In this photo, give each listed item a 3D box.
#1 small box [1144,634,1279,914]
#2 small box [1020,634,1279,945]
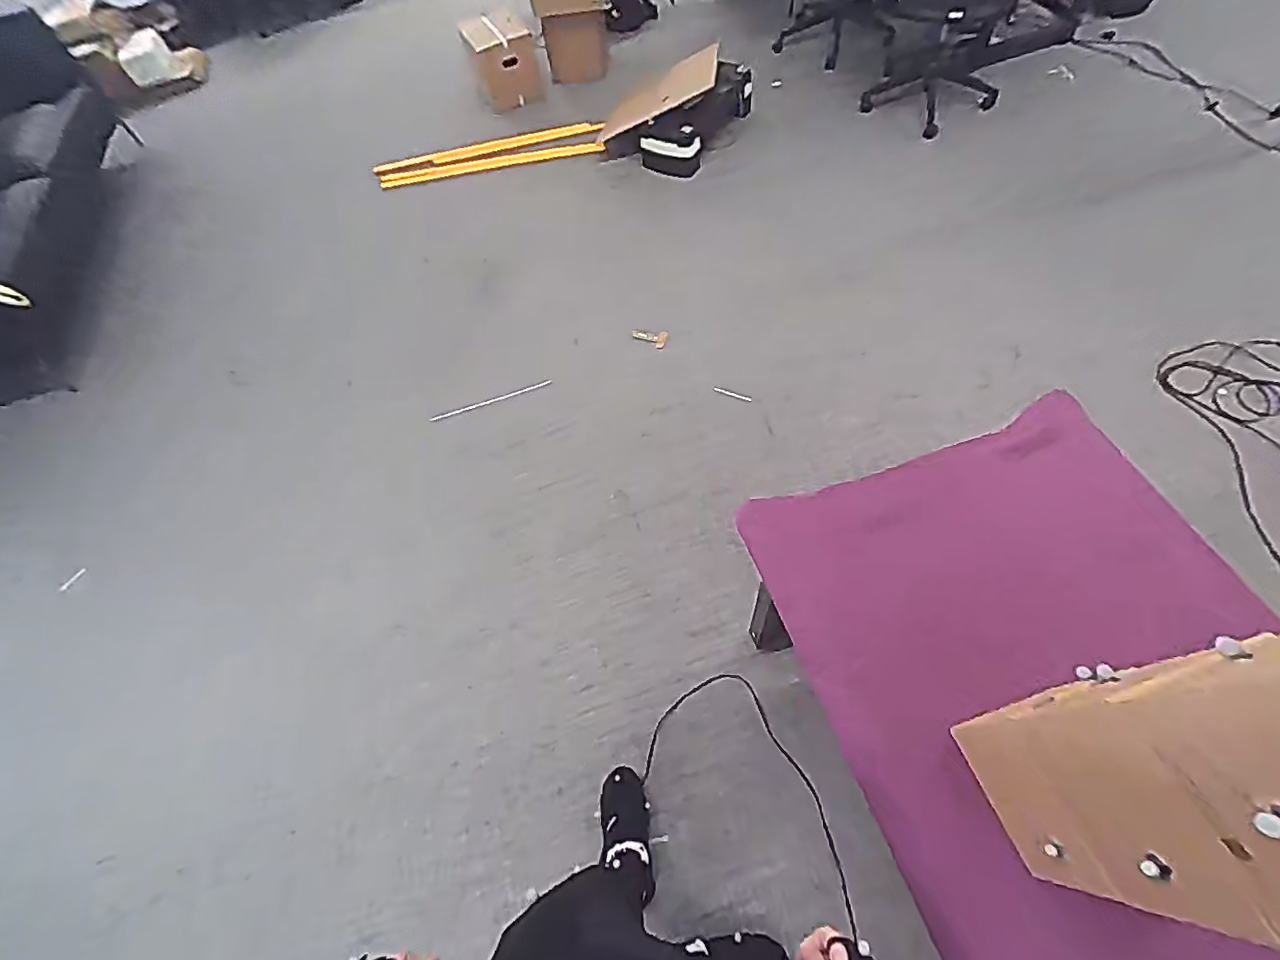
[{"bbox_3d":[0.491,0.183,0.346,0.179,0.176,0.168,-20,61,-4],"label":"small box"},{"bbox_3d":[0.502,0.264,0.486,0.168,0.176,0.179,-18,60,-4],"label":"small box"}]
